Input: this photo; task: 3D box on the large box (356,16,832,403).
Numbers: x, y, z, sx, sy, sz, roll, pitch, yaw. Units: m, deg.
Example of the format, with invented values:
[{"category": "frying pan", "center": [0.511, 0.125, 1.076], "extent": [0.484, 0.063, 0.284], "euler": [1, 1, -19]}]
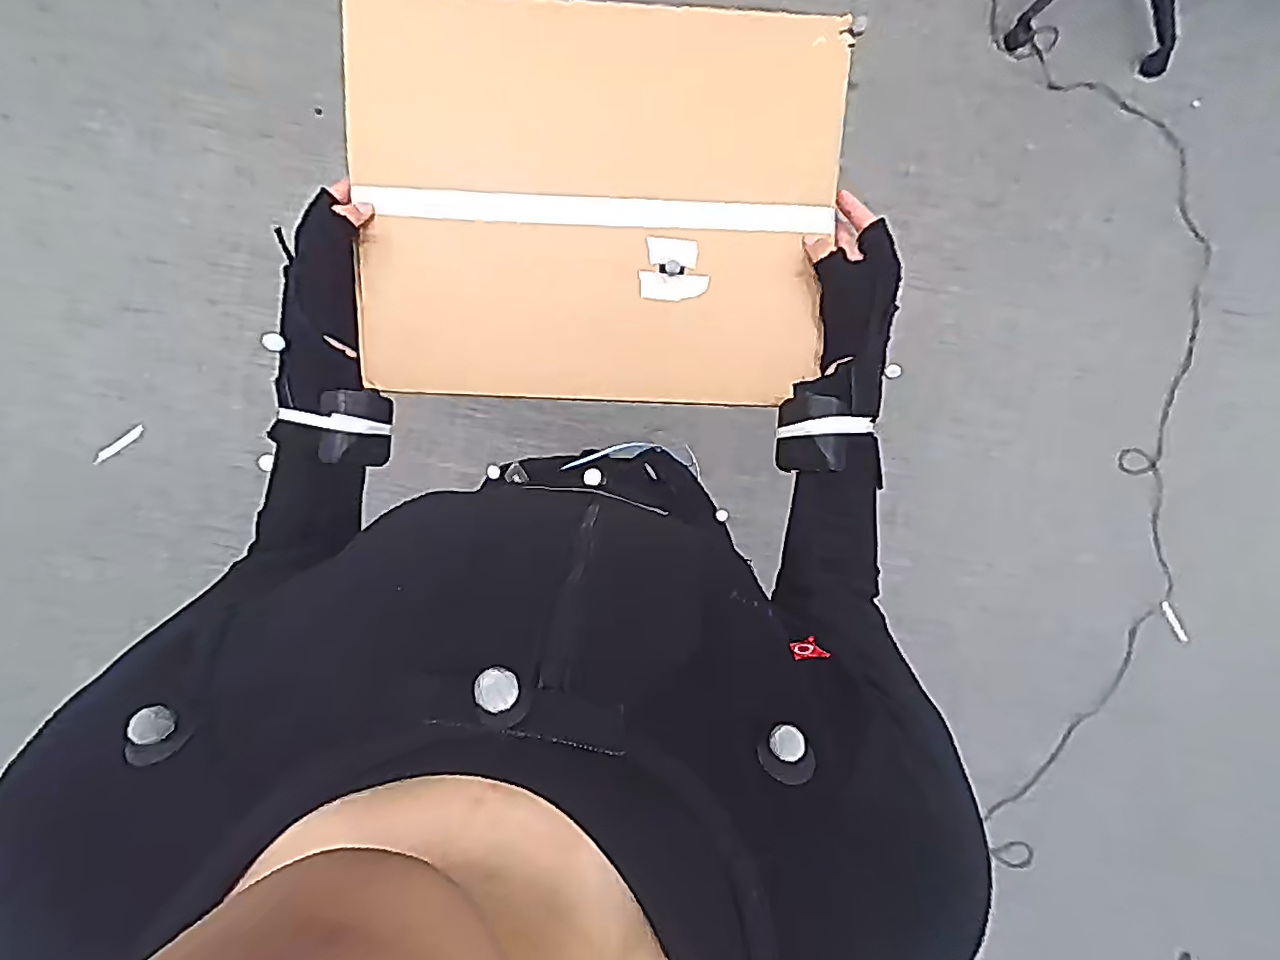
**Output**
[{"category": "large box", "center": [-0.044, -0.252, 0.619], "extent": [0.408, 0.320, 0.320], "euler": [1, 101, -2]}]
